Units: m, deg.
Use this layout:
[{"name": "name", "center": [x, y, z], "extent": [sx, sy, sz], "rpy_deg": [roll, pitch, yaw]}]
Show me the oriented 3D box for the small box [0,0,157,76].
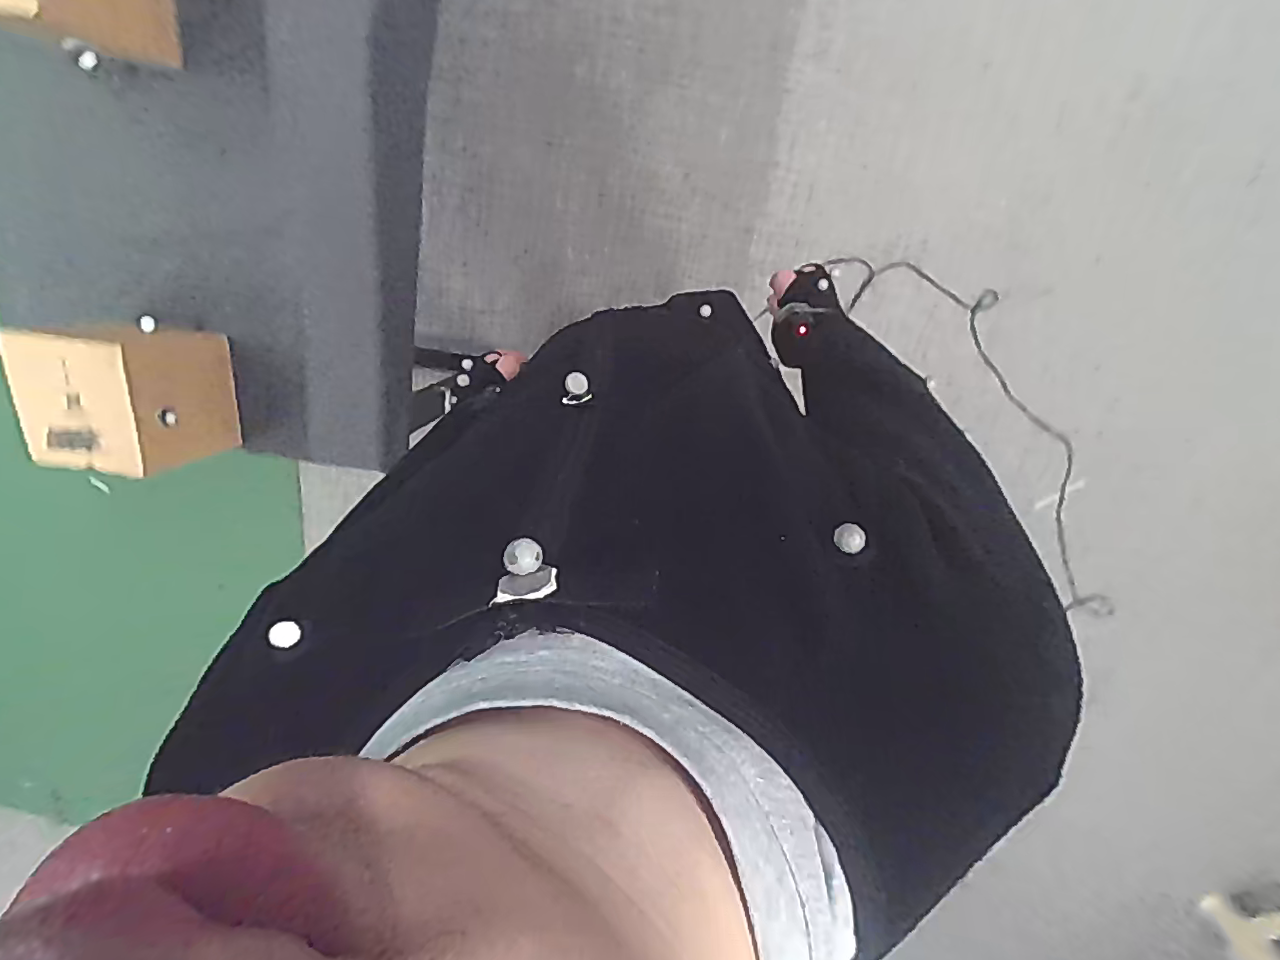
[{"name": "small box", "center": [-0.660, -0.561, 0.560], "extent": [0.168, 0.176, 0.179], "rpy_deg": [9, 111, 1]}]
